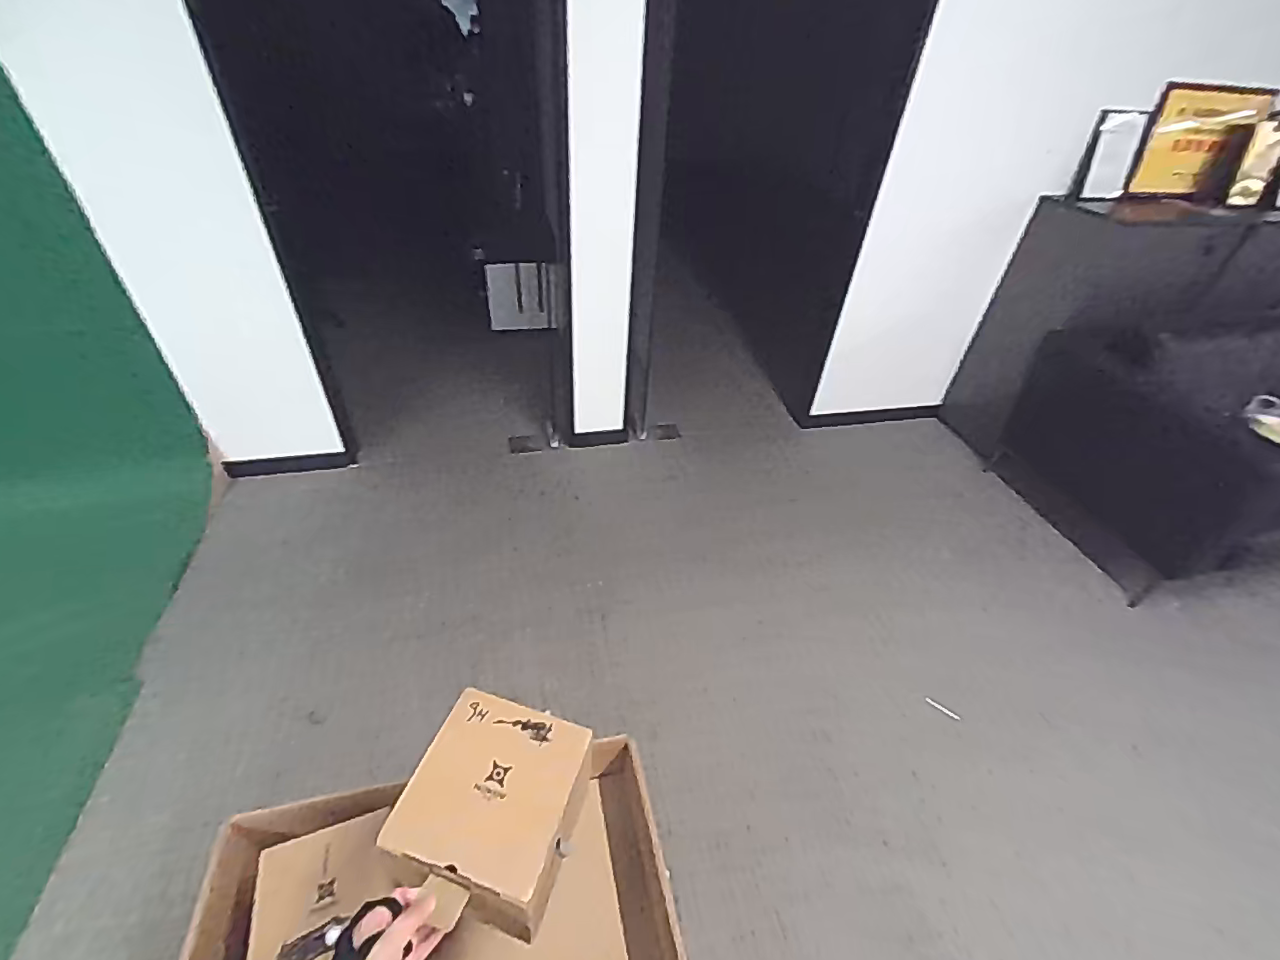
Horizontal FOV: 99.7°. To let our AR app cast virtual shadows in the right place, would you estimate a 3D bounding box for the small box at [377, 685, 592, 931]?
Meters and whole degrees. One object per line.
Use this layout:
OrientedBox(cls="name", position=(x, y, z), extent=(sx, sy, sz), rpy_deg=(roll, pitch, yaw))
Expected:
OrientedBox(cls="small box", position=(-0.159, 0.377, 0.622), extent=(0.168, 0.176, 0.179), rpy_deg=(14, 42, 10))
